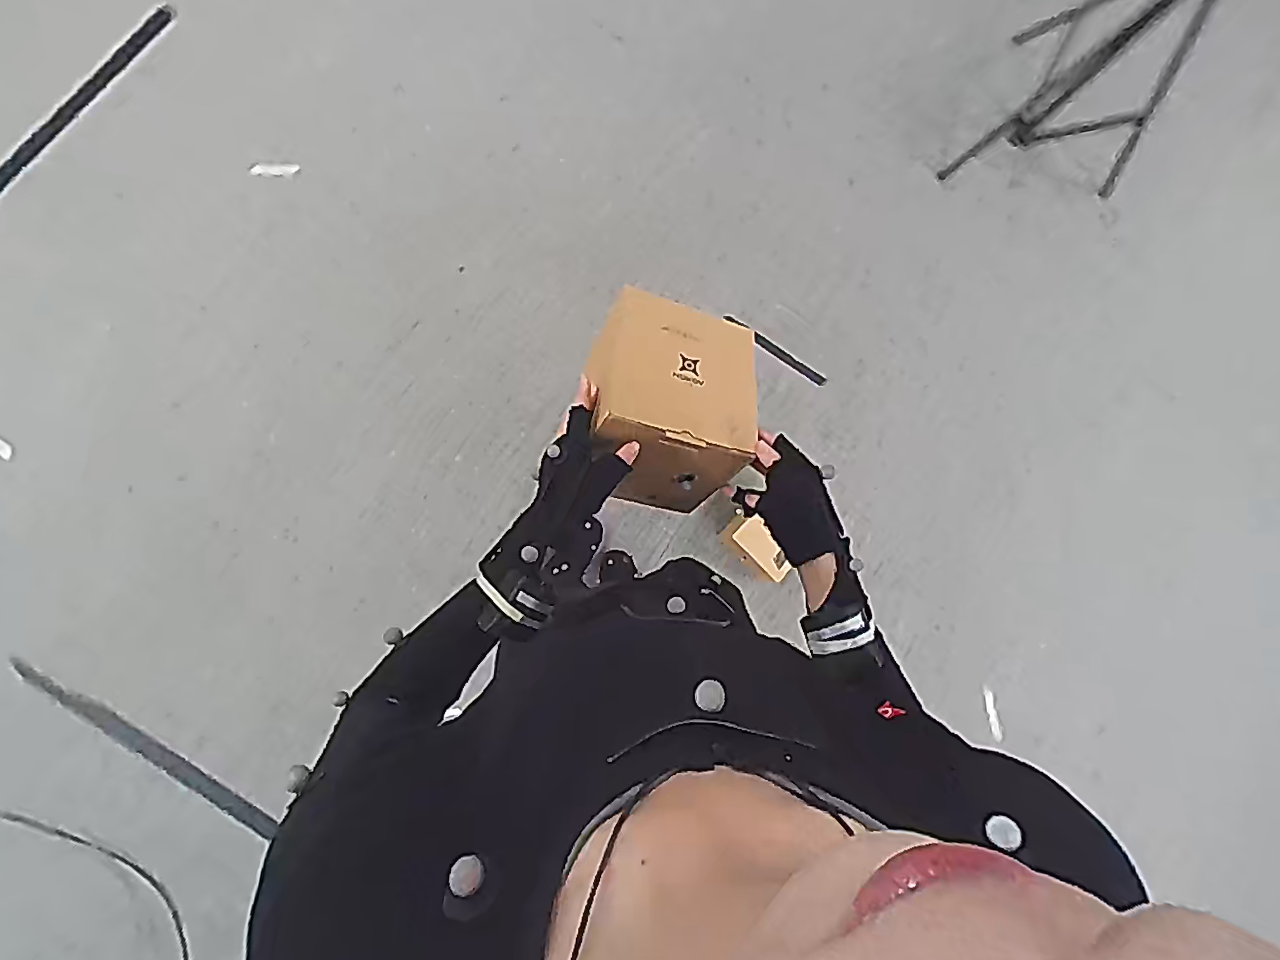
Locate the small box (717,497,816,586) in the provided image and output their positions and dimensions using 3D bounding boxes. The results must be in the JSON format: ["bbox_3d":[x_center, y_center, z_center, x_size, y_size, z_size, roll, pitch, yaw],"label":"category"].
[{"bbox_3d":[0.341,0.167,1.490,0.168,0.176,0.179,-44,89,-9],"label":"small box"}]

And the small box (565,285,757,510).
[{"bbox_3d":[0.018,-0.083,0.630,0.168,0.176,0.179,14,59,-19],"label":"small box"}]
